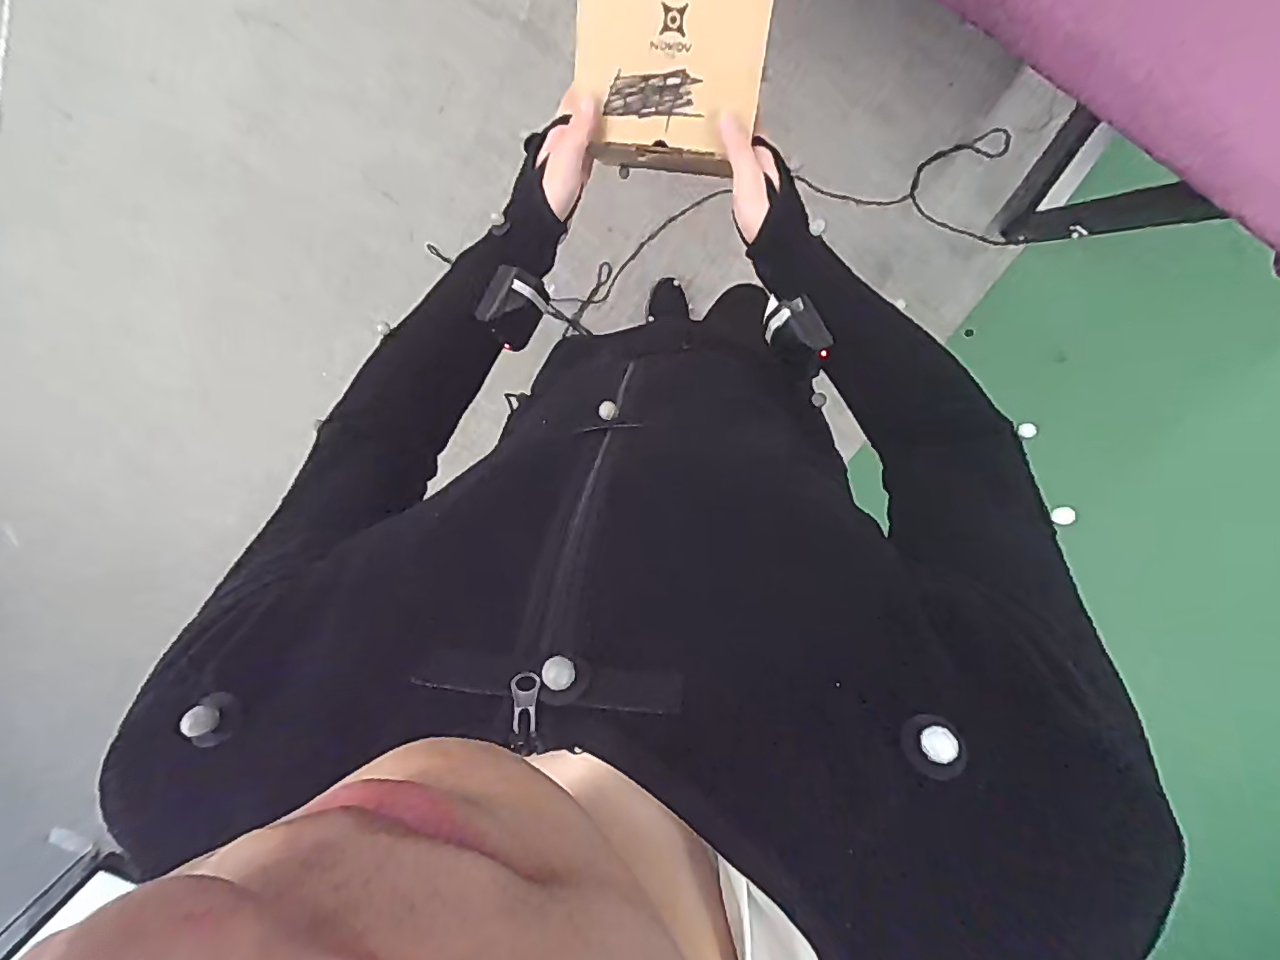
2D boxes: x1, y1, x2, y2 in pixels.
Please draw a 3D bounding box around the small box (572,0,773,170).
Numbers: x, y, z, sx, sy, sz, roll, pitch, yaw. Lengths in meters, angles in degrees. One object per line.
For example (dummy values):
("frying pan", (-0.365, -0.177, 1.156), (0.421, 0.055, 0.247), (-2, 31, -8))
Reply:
("small box", (0.036, -0.417, 0.531), (0.168, 0.176, 0.179), (8, 114, 3))
